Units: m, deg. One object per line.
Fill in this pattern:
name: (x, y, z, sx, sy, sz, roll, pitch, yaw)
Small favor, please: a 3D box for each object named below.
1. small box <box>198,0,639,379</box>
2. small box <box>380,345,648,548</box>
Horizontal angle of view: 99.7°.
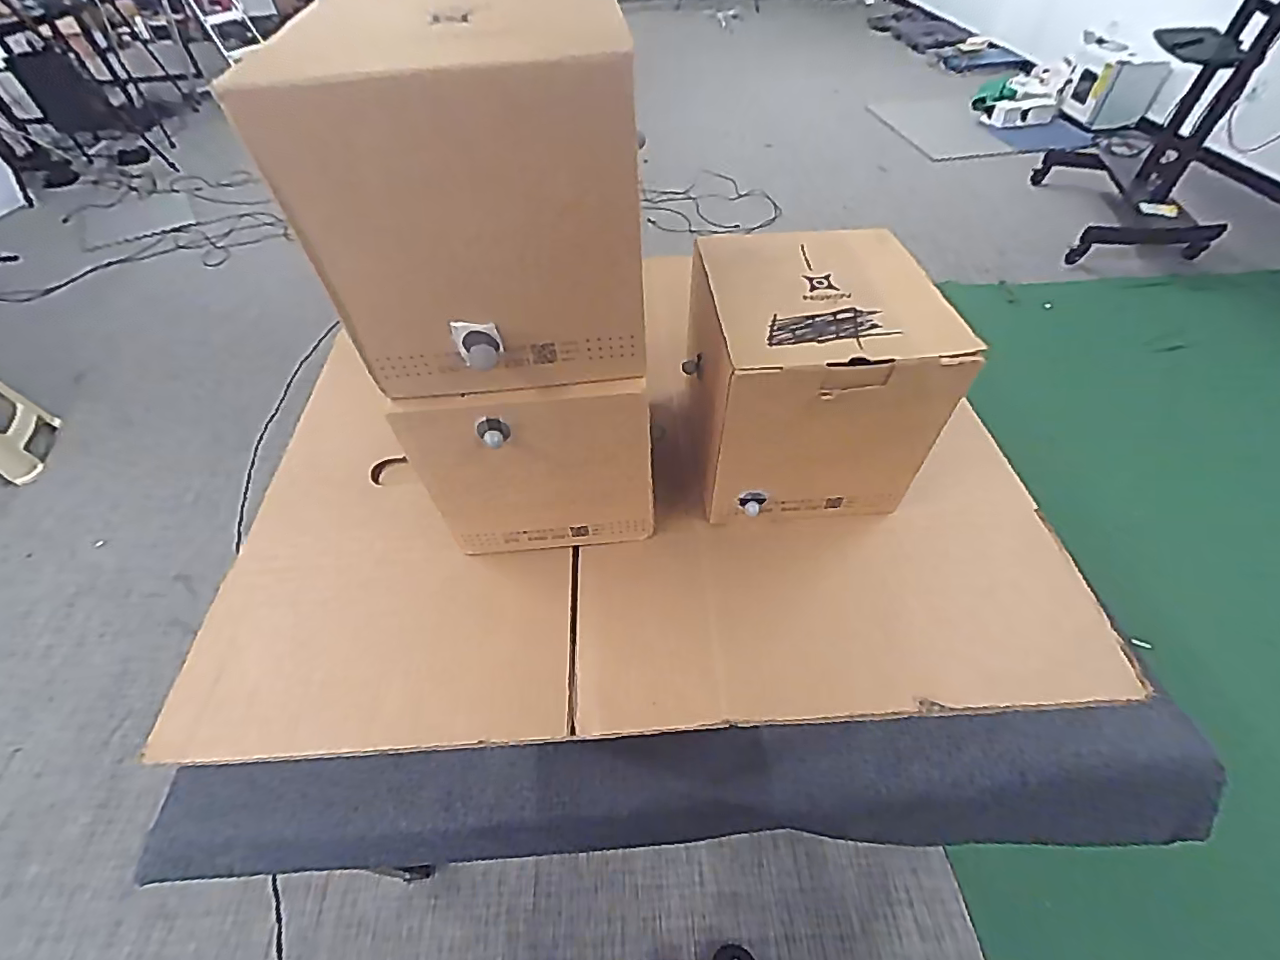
small box: (-0.092, -0.184, 0.319, 0.168, 0.176, 0.179, -7, 52, -2)
small box: (-0.083, -0.065, 0.451, 0.168, 0.176, 0.179, -5, 50, 1)
